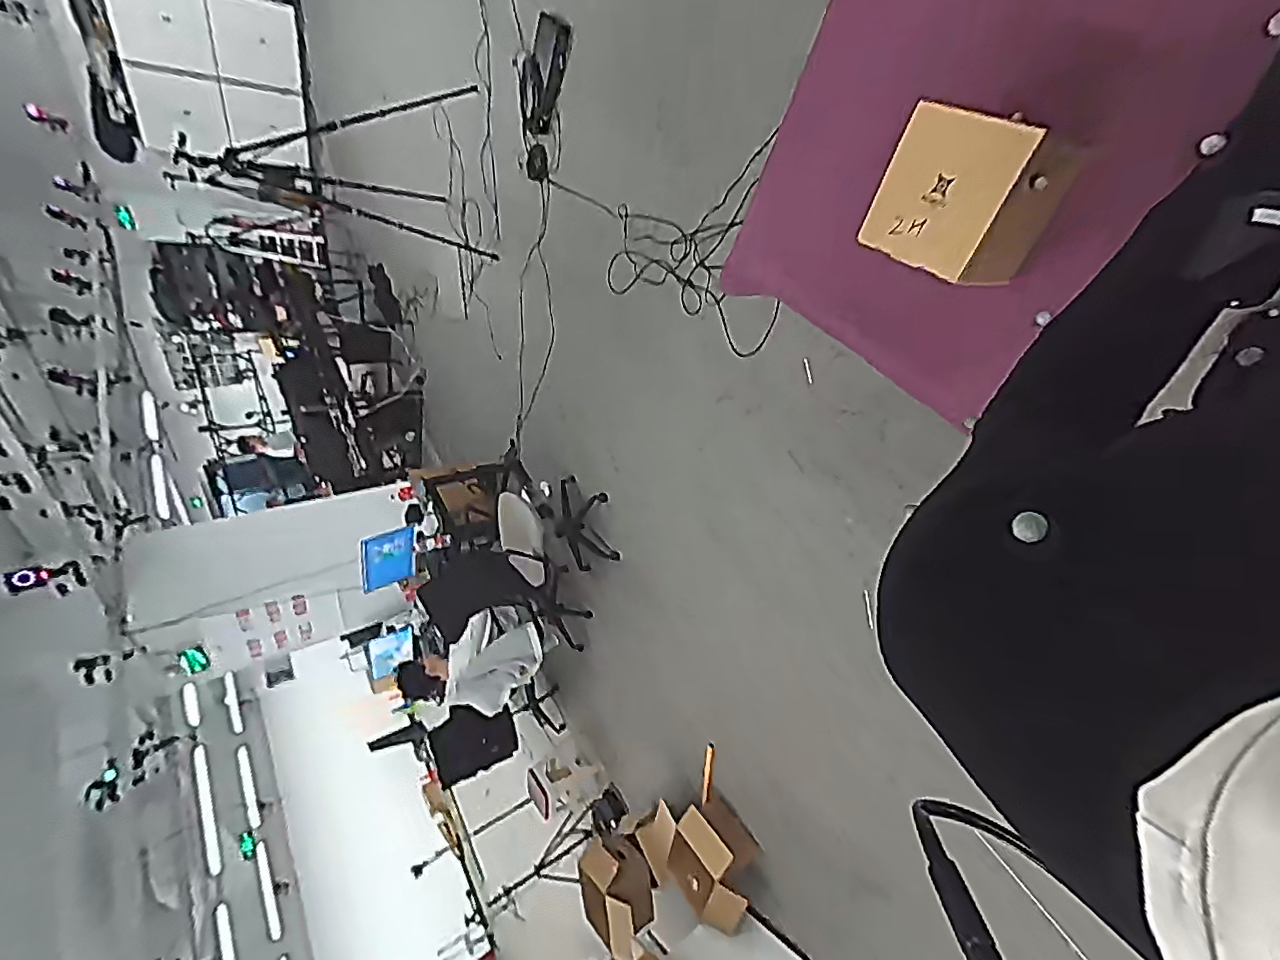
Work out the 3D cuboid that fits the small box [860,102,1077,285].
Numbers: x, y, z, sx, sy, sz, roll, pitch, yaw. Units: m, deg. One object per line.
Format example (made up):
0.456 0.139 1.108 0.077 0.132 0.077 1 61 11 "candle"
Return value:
0.448 -0.383 0.739 0.168 0.176 0.179 47 137 34 "small box"
